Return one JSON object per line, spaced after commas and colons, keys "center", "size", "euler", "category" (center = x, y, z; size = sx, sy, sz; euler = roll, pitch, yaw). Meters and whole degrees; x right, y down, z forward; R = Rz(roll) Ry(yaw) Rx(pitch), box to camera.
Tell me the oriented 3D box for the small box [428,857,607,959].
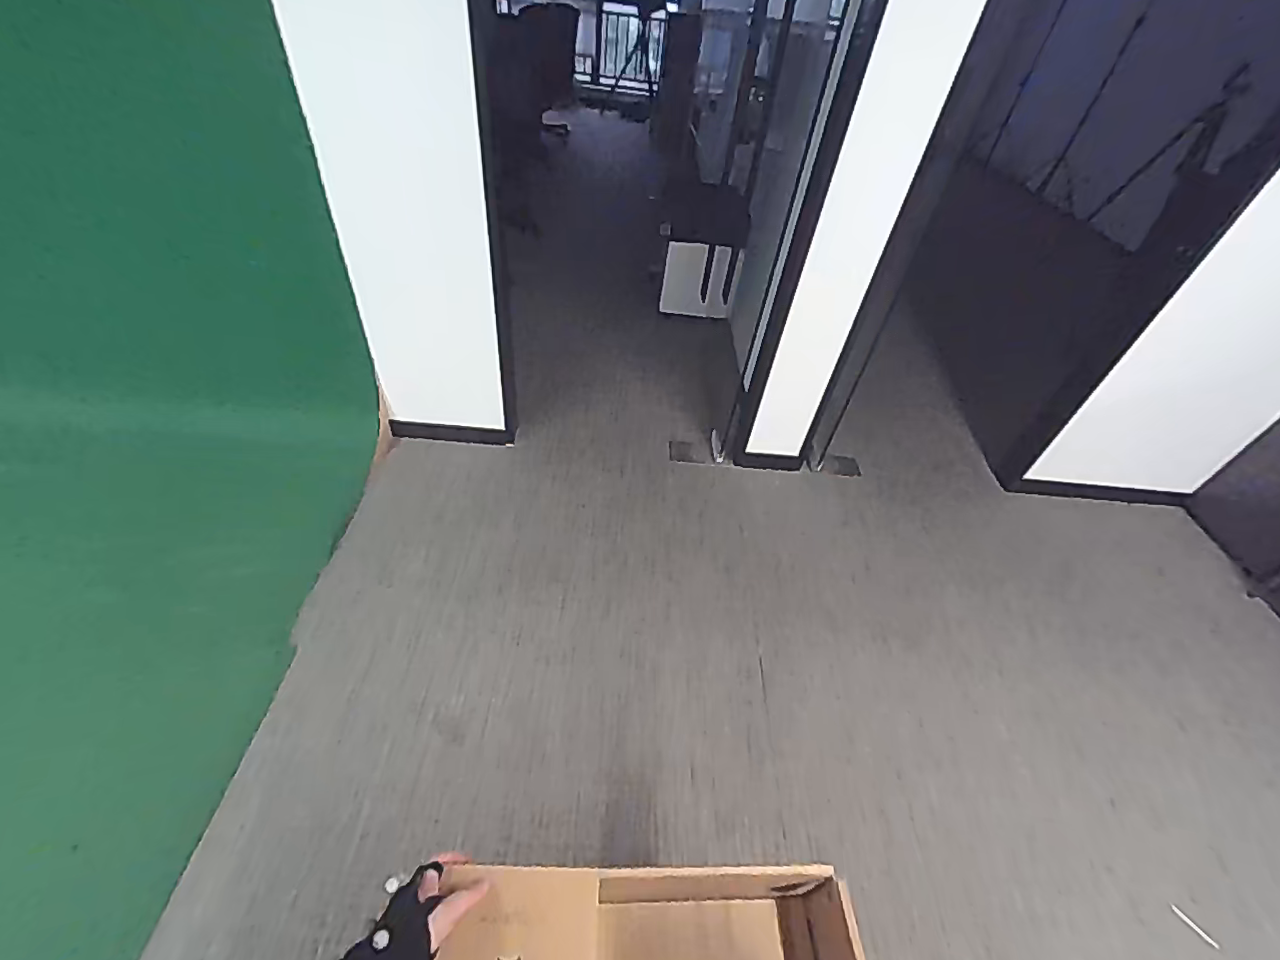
{"center": [-0.125, 0.513, 0.561], "size": [0.168, 0.176, 0.179], "euler": [5, 46, -4], "category": "small box"}
